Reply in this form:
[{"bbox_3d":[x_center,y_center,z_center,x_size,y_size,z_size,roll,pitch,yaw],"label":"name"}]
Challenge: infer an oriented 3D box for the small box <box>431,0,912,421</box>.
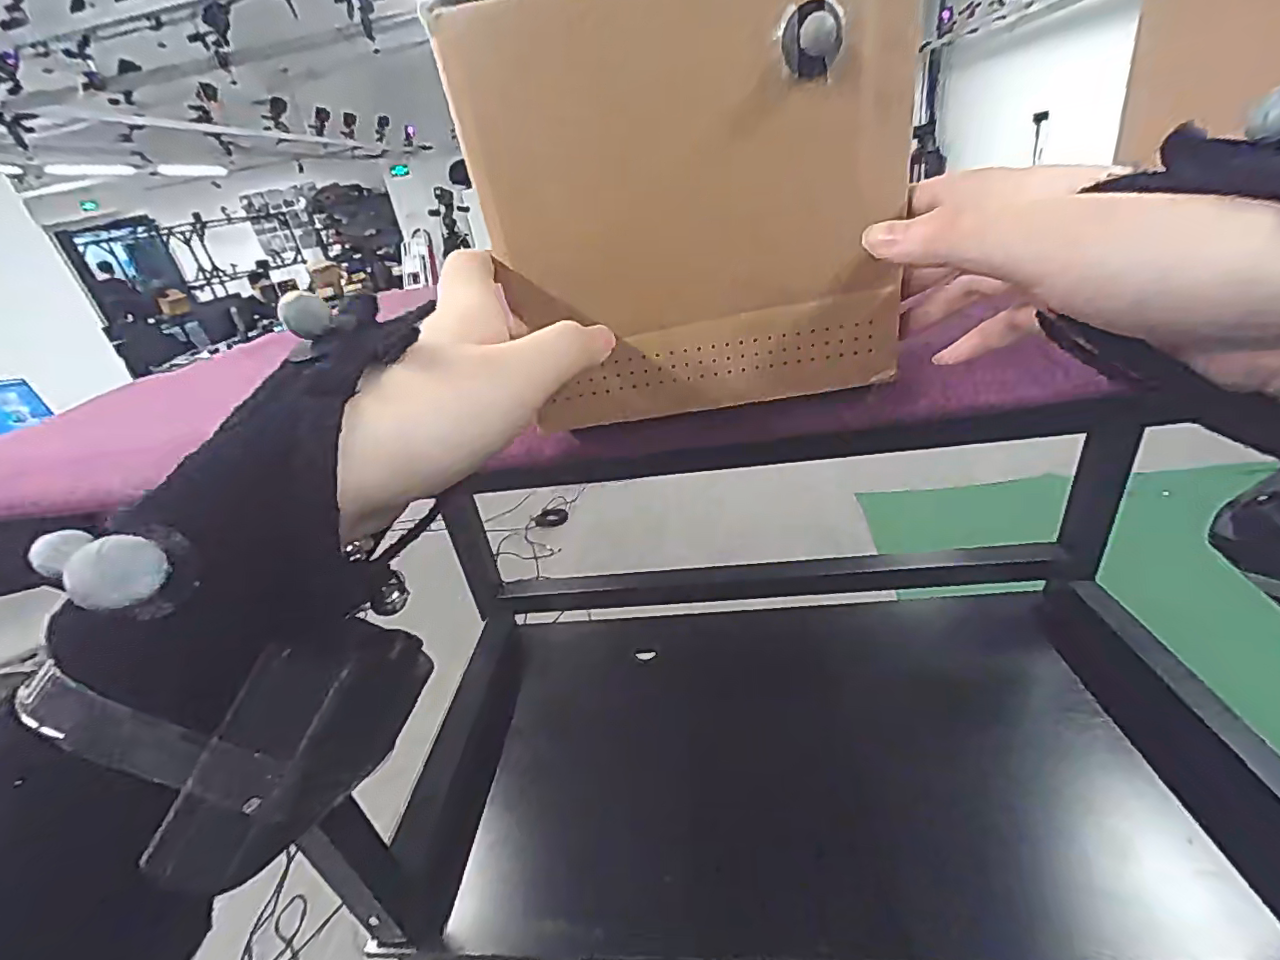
[{"bbox_3d":[0.024,-0.140,0.287,0.179,0.176,0.168,-8,29,3],"label":"small box"}]
